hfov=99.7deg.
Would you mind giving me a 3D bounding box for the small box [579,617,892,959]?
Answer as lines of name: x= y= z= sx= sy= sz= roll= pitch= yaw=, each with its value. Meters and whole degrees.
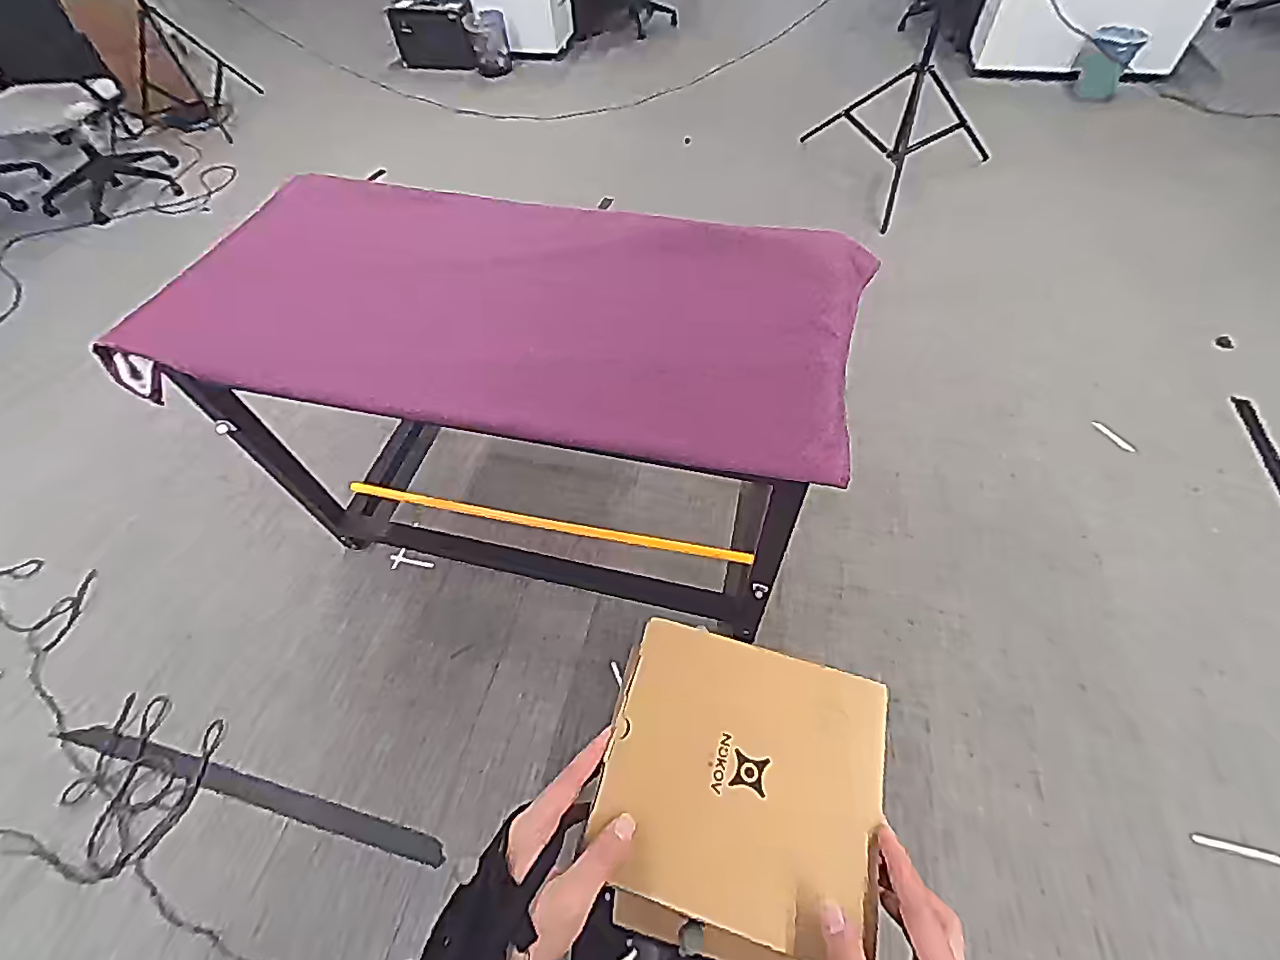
small box: x=0.071 y=0.231 z=0.413 sx=0.179 sy=0.176 sz=0.168 roll=13 pitch=55 yaw=11
